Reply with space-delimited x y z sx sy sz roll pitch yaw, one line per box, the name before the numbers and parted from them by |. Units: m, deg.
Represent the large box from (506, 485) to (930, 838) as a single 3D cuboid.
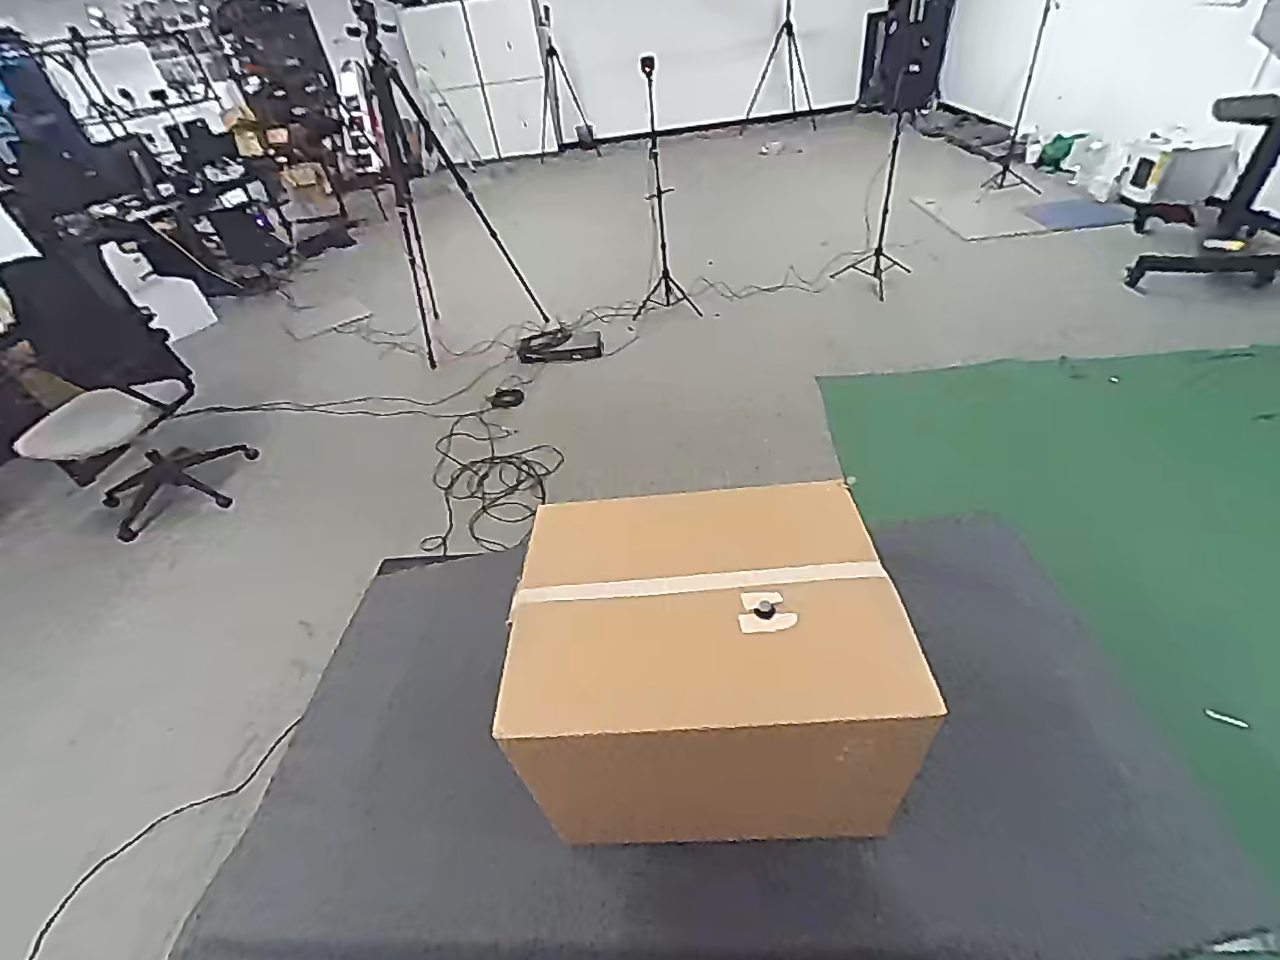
large box | 0.080 0.235 0.706 0.408 0.320 0.320 -5 41 4
